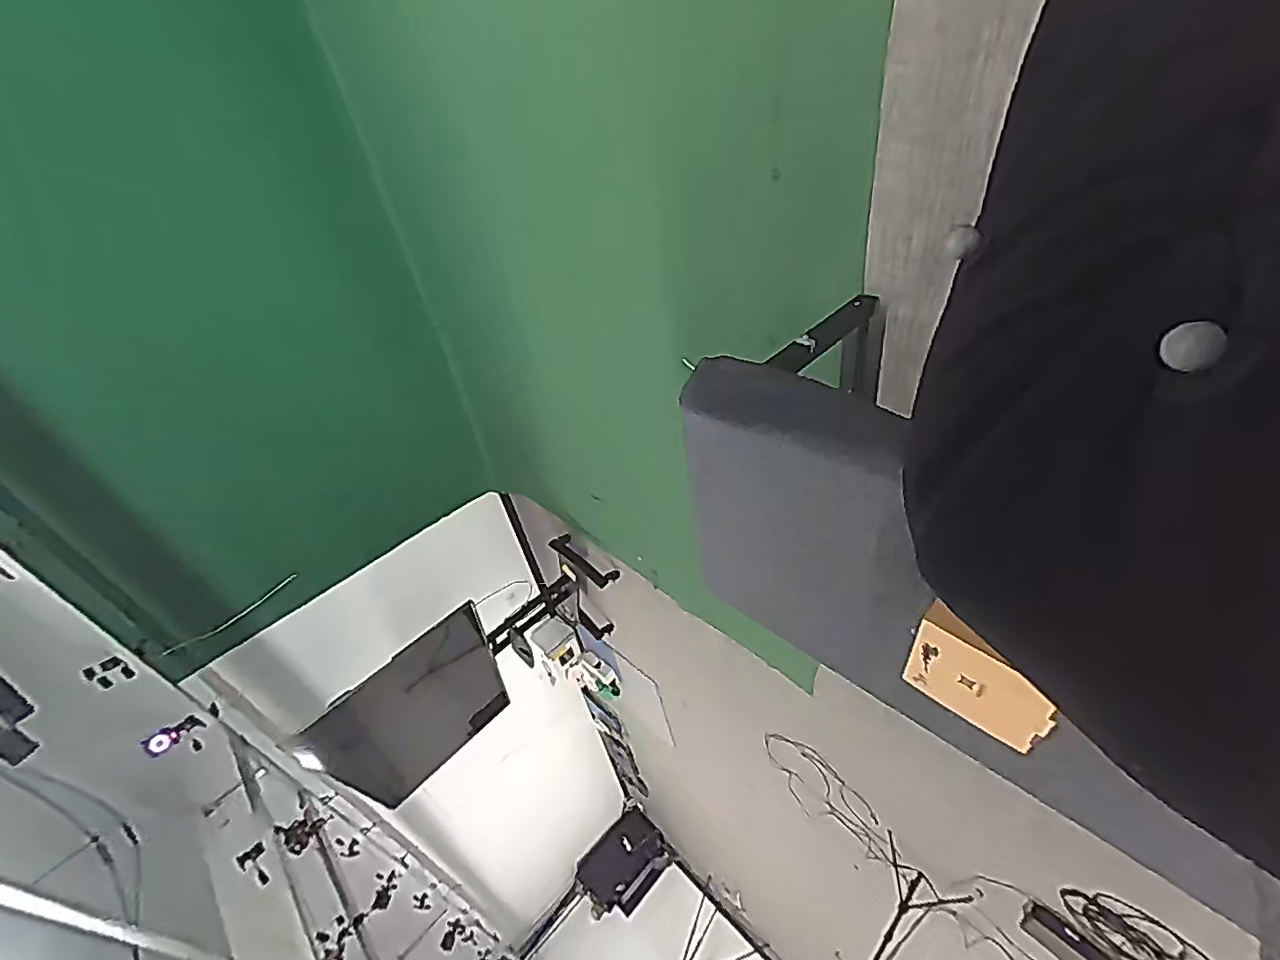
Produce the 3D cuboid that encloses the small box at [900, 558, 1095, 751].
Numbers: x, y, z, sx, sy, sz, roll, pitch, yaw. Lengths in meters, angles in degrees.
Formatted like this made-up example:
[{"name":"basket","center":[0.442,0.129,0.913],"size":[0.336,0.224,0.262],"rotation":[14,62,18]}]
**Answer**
[{"name":"small box","center":[0.520,0.246,0.796],"size":[0.179,0.176,0.168],"rotation":[30,144,37]}]
